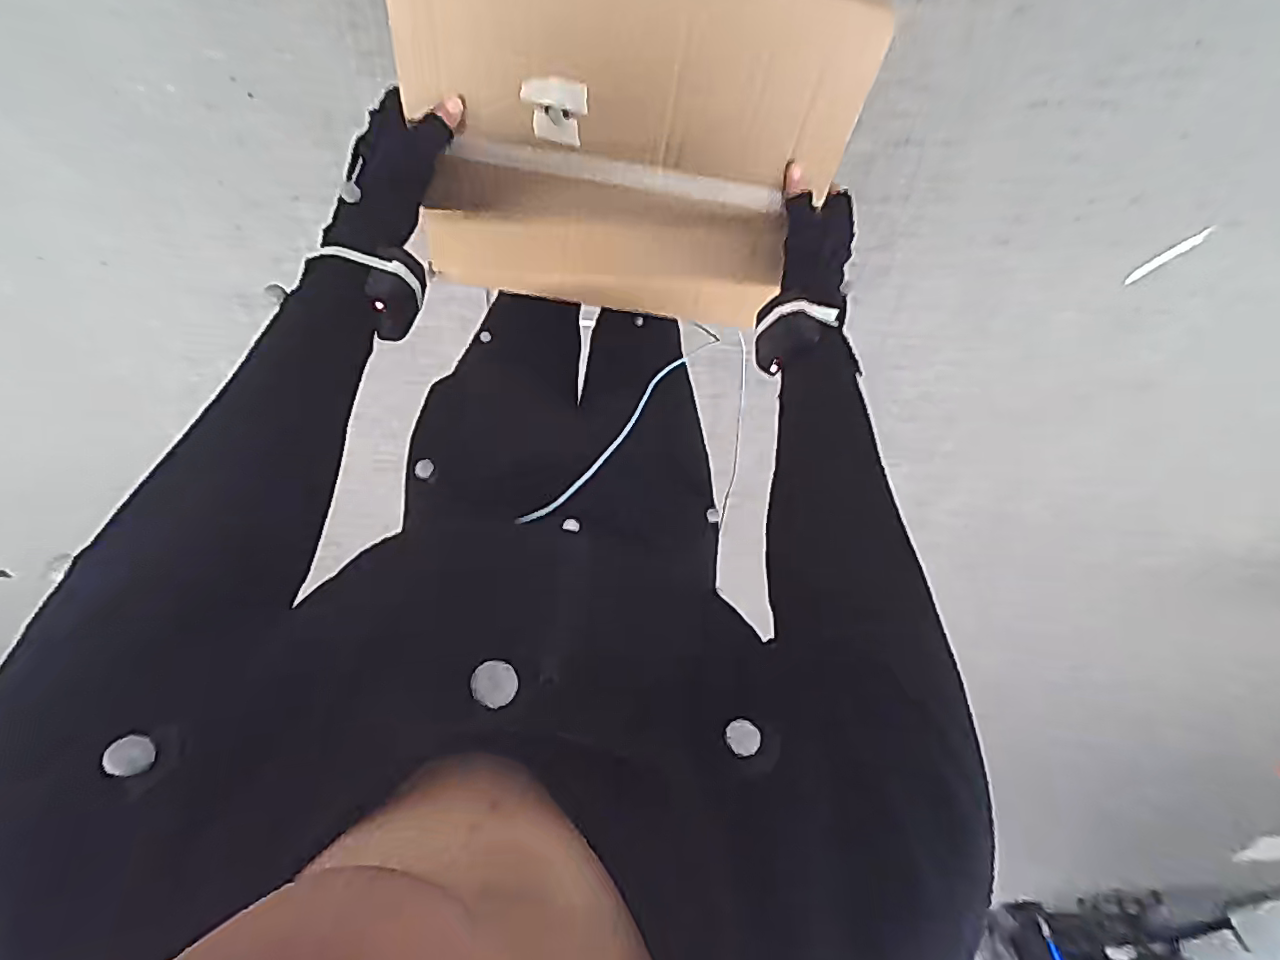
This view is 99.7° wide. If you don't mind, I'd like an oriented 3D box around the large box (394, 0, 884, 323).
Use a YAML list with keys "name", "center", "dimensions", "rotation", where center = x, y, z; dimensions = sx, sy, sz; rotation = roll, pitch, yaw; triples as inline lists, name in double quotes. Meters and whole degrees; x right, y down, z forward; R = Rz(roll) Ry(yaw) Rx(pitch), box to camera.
- name: "large box"
  center: [-0.010, -0.427, 0.619]
  dimensions: [0.408, 0.320, 0.320]
  rotation: [9, 141, -5]
